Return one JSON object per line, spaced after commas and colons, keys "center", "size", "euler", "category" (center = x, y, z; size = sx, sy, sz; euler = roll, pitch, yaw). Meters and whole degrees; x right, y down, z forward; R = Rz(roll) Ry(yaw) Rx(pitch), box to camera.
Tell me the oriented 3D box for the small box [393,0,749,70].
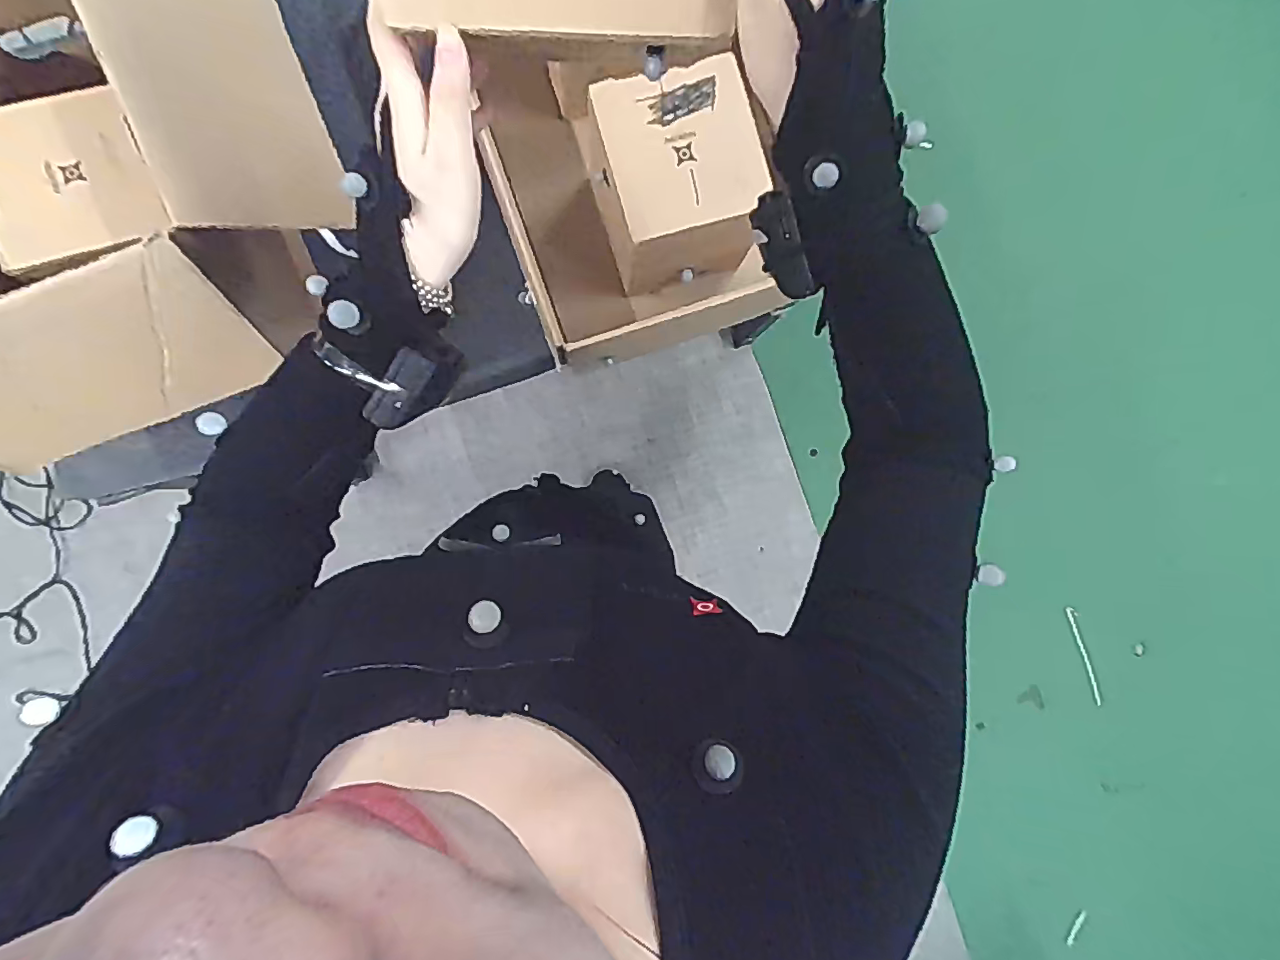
{"center": [-0.036, -0.332, 0.294], "size": [0.179, 0.176, 0.168], "euler": [-2, 124, -4], "category": "small box"}
